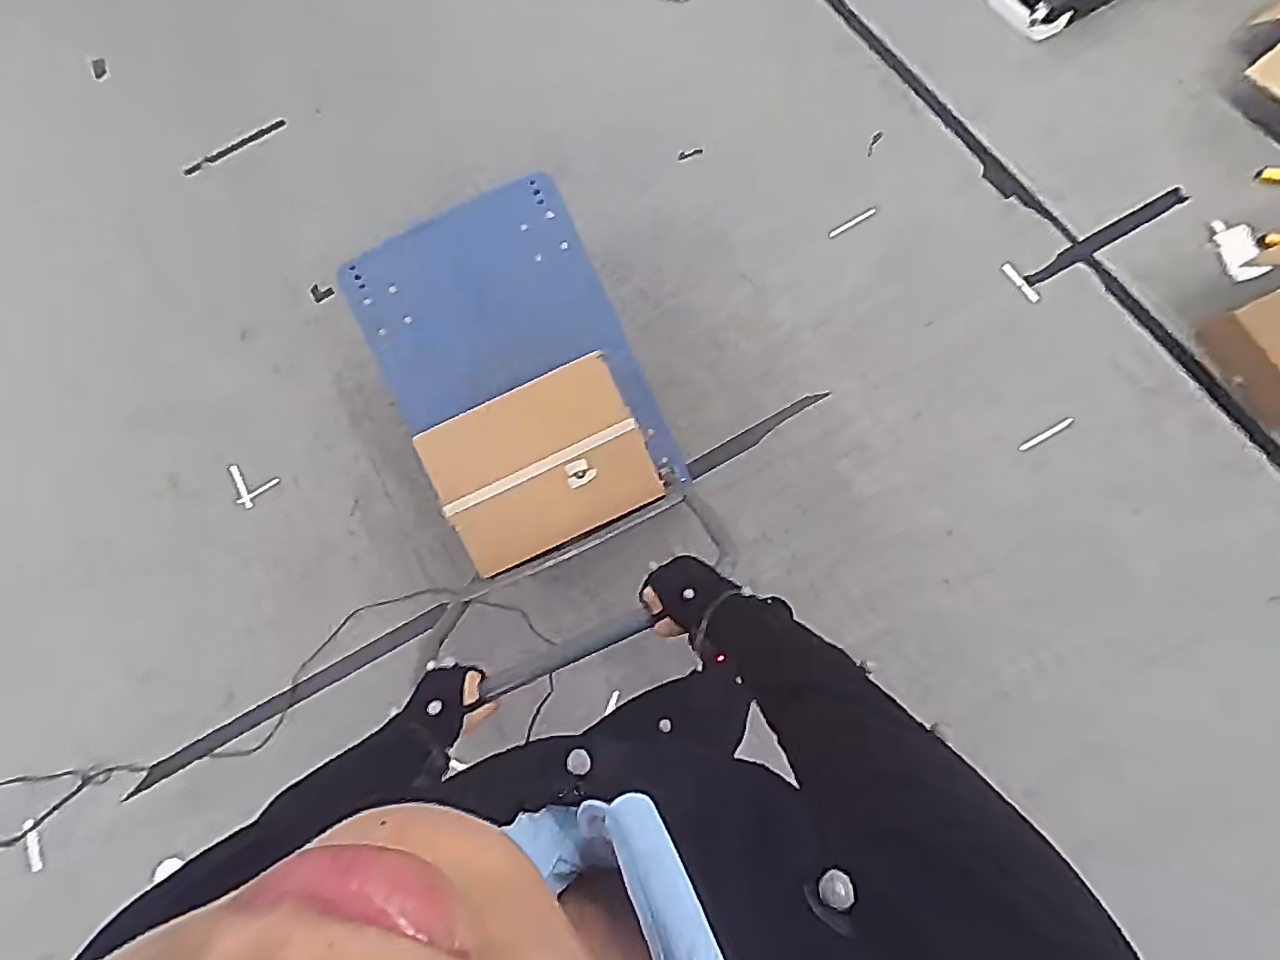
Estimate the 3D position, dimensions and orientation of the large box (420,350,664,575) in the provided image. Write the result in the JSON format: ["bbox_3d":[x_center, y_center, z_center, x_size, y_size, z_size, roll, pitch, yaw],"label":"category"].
[{"bbox_3d":[-0.200,-0.040,1.221,0.408,0.320,0.320,-26,95,-1],"label":"large box"}]
